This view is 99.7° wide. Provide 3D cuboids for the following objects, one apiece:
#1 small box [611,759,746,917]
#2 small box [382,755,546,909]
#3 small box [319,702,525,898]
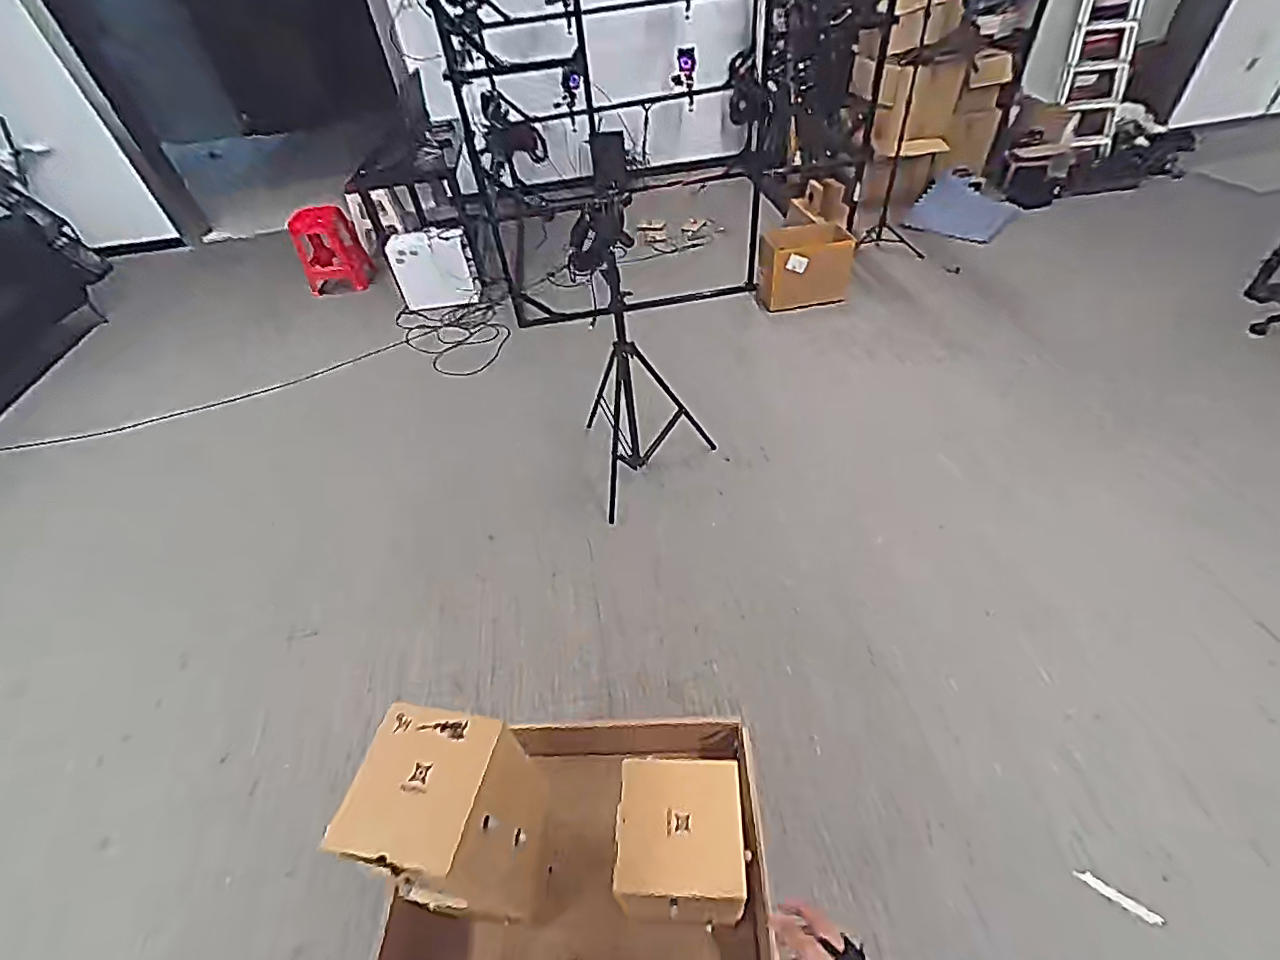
[{"bbox_3d":[0.059,0.534,0.807,0.179,0.176,0.168,-2,44,6],"label":"small box"},{"bbox_3d":[-0.256,0.539,0.840,0.168,0.176,0.179,2,44,9],"label":"small box"},{"bbox_3d":[-0.269,0.427,0.720,0.168,0.176,0.179,5,46,11],"label":"small box"}]
